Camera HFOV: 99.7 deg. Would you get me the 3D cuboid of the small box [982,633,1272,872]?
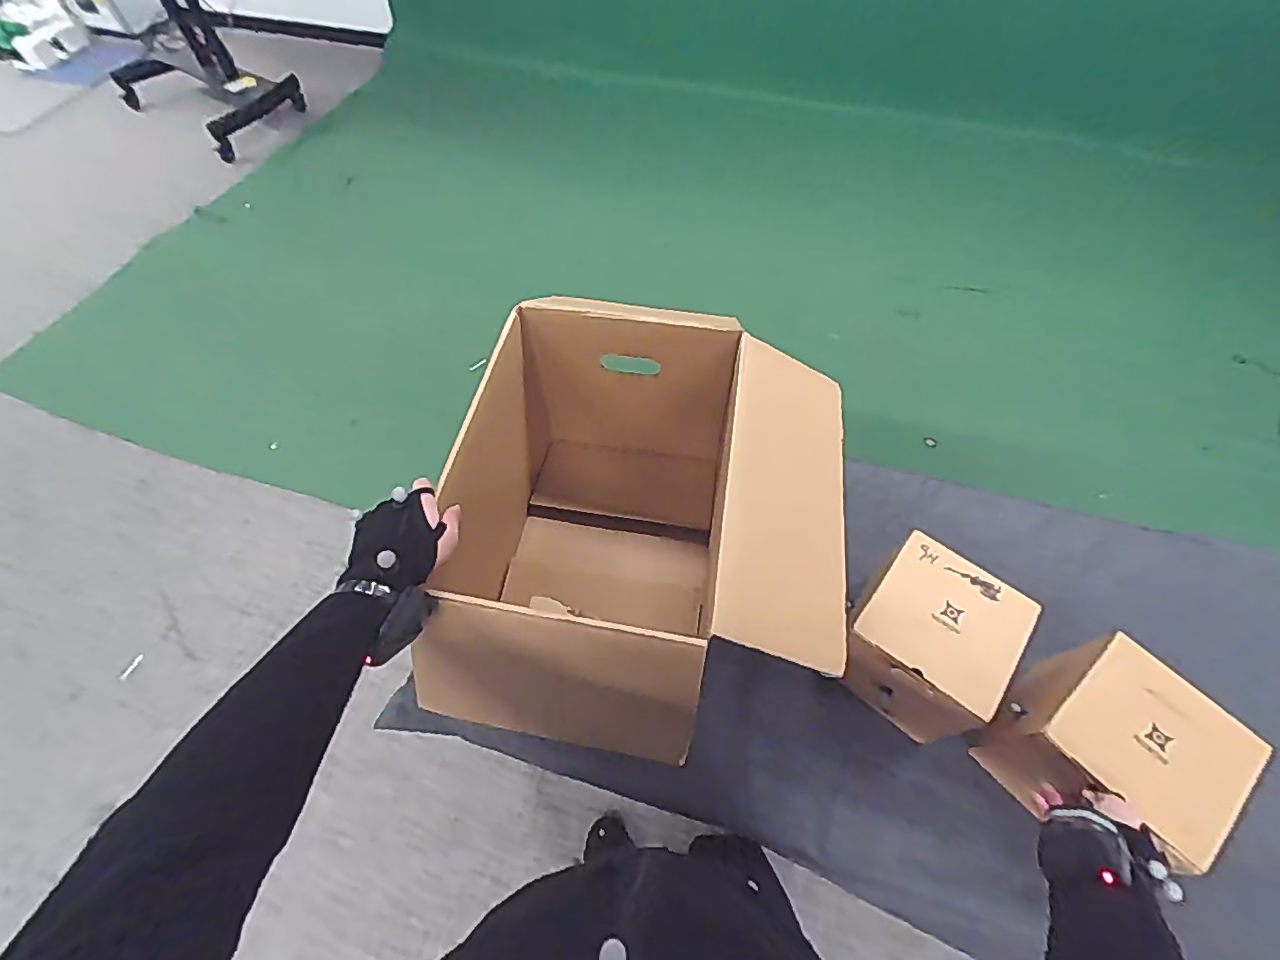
[{"bbox_3d":[0.551,0.320,0.643,0.179,0.176,0.168,-36,65,-20],"label":"small box"}]
